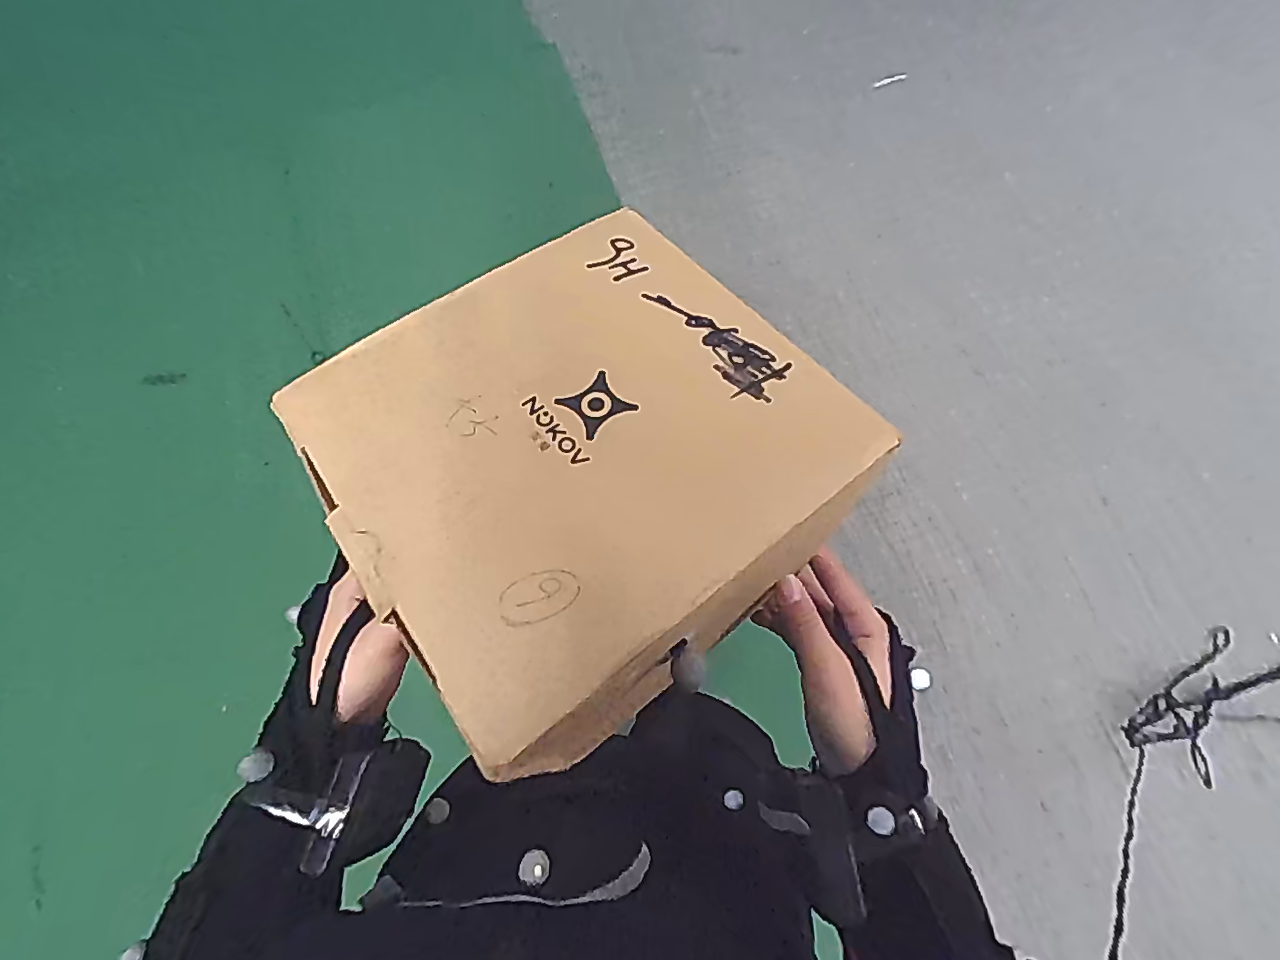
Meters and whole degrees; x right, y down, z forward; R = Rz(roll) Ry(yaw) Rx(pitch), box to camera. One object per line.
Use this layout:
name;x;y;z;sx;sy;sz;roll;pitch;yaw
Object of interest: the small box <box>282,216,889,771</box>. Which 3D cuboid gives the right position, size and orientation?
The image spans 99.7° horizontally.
small box;-0.021;0.016;0.272;0.179;0.176;0.168;-35;67;-14
